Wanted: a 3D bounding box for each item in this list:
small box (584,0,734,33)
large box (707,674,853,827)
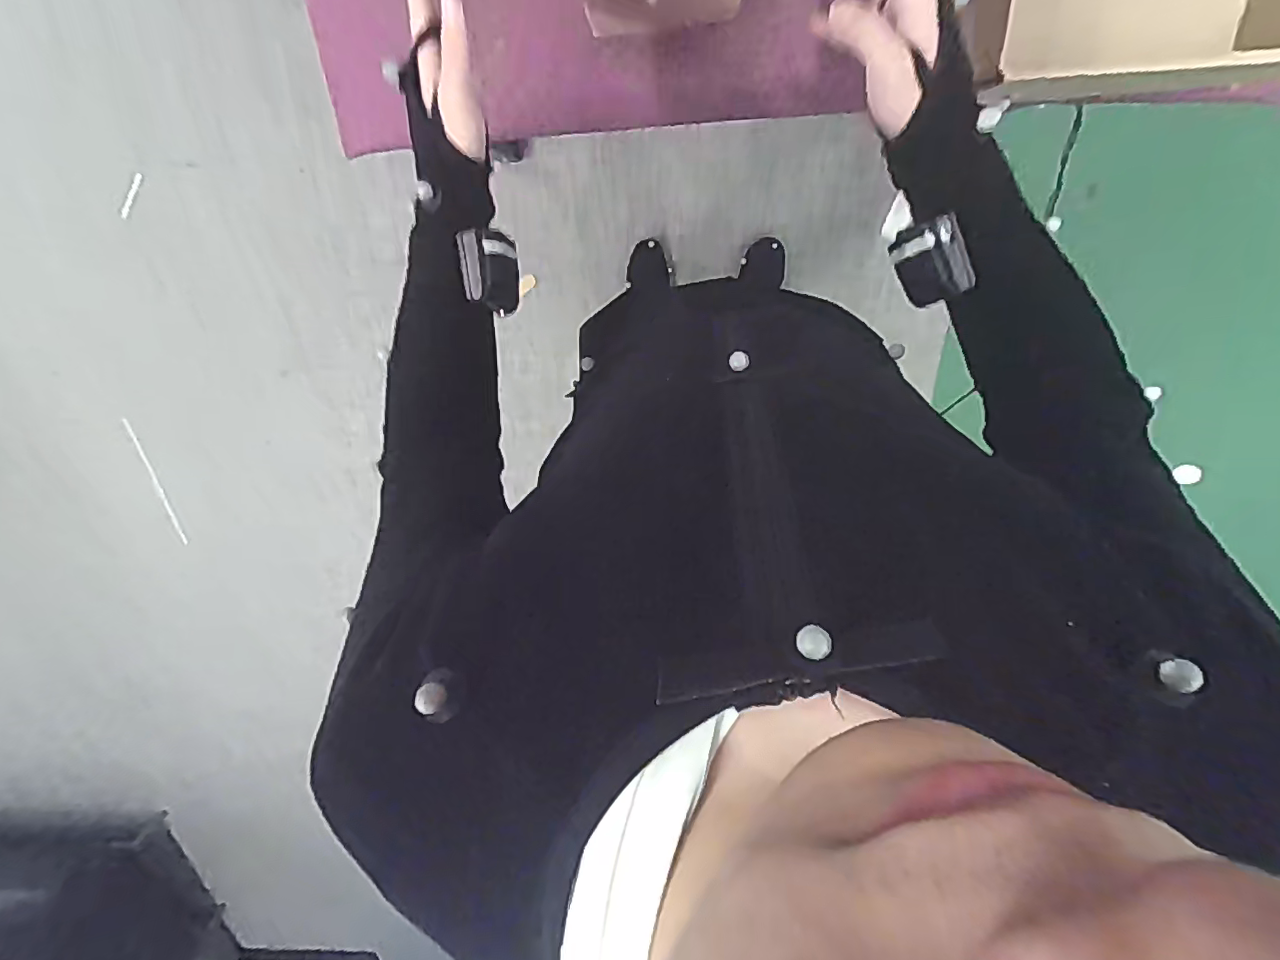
[{"bbox_3d":[0.016,-0.597,0.559,0.179,0.176,0.168,-4,115,4],"label":"small box"},{"bbox_3d":[0.508,1.012,2.038,0.408,0.320,0.320,-31,111,15],"label":"large box"}]
